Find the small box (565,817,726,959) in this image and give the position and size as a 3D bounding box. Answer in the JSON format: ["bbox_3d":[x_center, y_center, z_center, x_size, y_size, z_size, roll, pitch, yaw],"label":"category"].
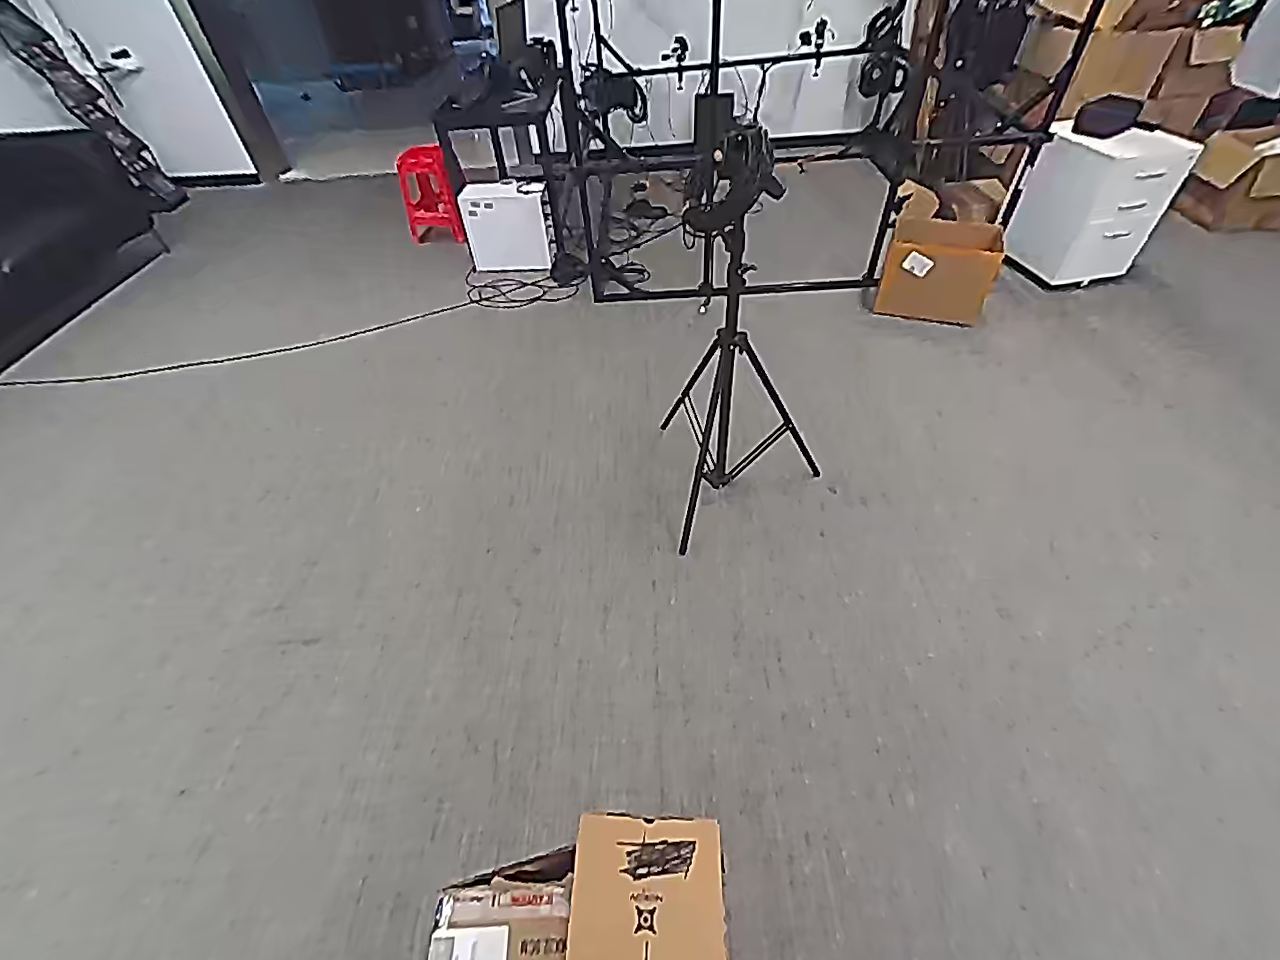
[{"bbox_3d":[0.003,0.515,0.626,0.168,0.176,0.179,4,46,-1],"label":"small box"}]
